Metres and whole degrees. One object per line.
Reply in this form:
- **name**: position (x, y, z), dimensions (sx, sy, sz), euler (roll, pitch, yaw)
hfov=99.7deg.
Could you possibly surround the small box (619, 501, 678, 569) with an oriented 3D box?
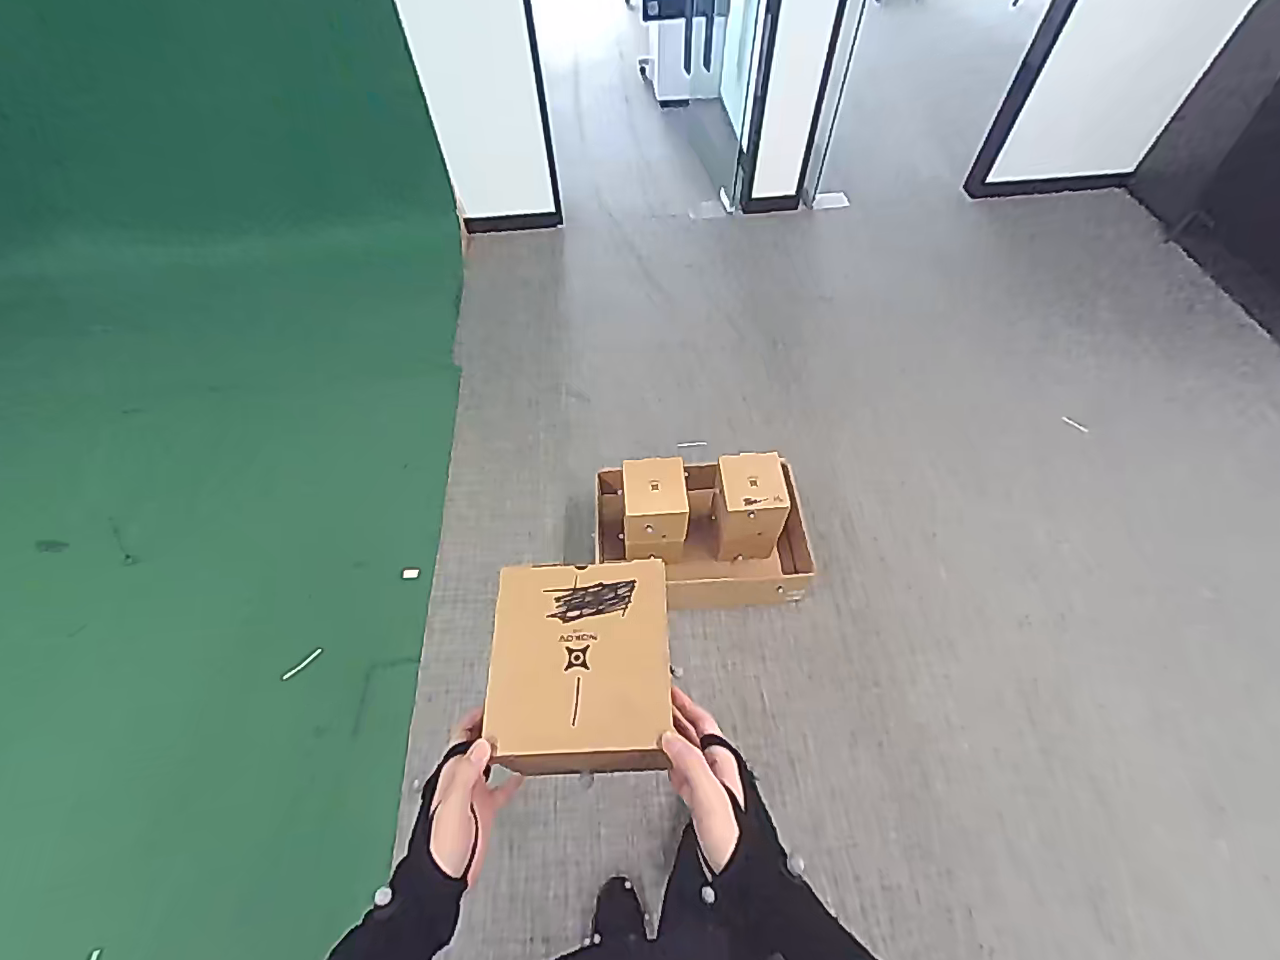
- **small box**: position (0.025, 0.161, 1.624), dimensions (0.168, 0.176, 0.179), euler (-2, 56, -2)

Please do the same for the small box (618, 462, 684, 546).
- **small box**: position (0.029, 0.072, 1.489), dimensions (0.168, 0.176, 0.179), euler (-4, 56, -2)

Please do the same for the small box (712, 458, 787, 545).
- **small box**: position (0.294, 0.061, 1.495), dimensions (0.168, 0.176, 0.179), euler (-4, 56, 0)

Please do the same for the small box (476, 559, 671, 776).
- **small box**: position (-0.055, 0.199, 0.562), dimensions (0.168, 0.176, 0.179), euler (-3, 56, 2)
